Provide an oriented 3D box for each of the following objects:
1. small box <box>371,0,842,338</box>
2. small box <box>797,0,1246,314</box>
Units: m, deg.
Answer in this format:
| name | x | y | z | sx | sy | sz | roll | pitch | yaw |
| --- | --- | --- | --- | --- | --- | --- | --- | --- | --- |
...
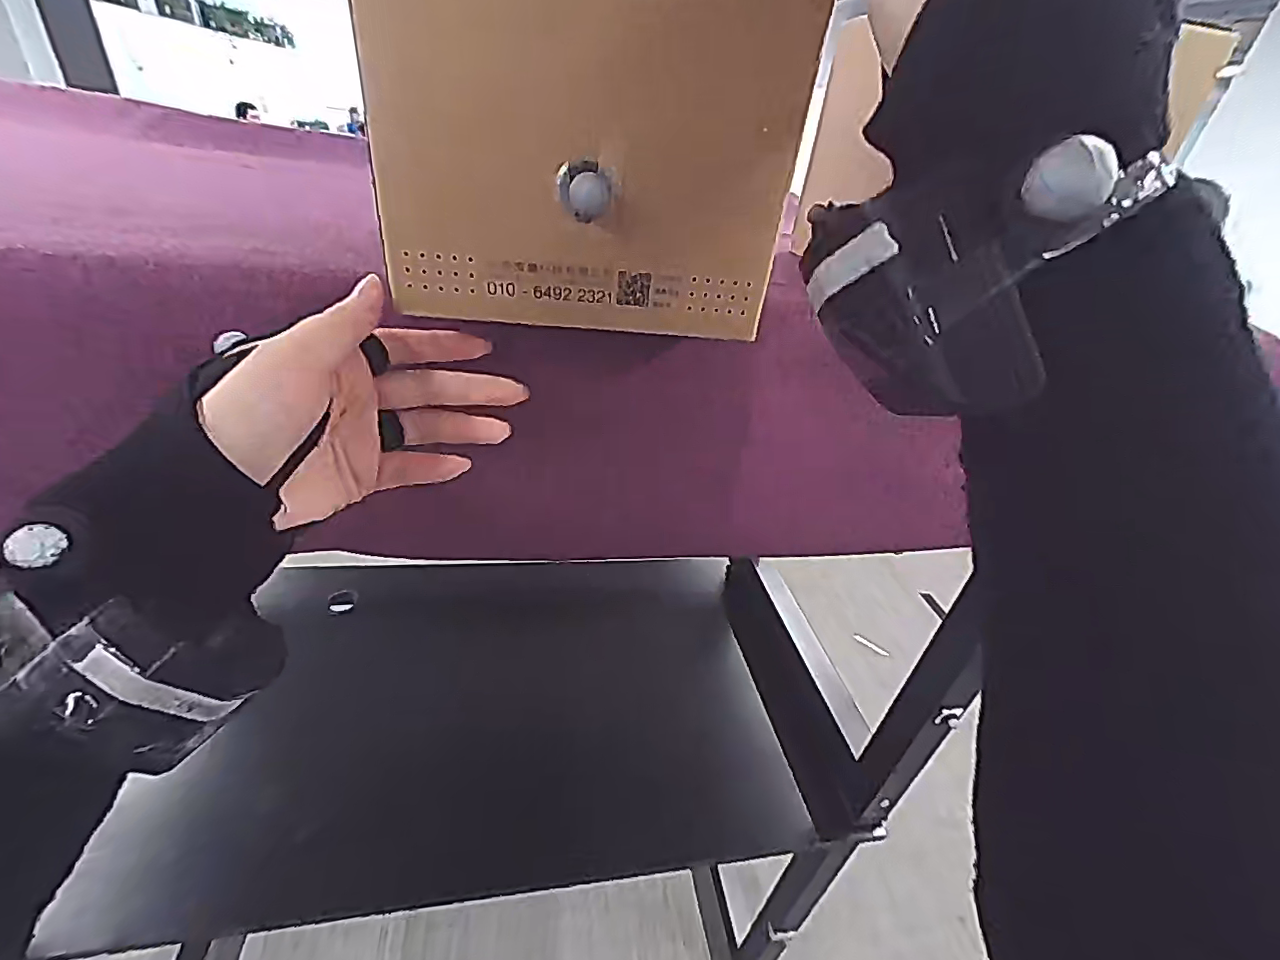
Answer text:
| name | x | y | z | sx | sy | sz | roll | pitch | yaw |
| --- | --- | --- | --- | --- | --- | --- | --- | --- | --- |
| small box | -0.024 | -0.183 | 0.266 | 0.168 | 0.176 | 0.179 | 2 | 33 | -9 |
| small box | 0.243 | -0.230 | 0.401 | 0.179 | 0.176 | 0.168 | 1 | 32 | -10 |
